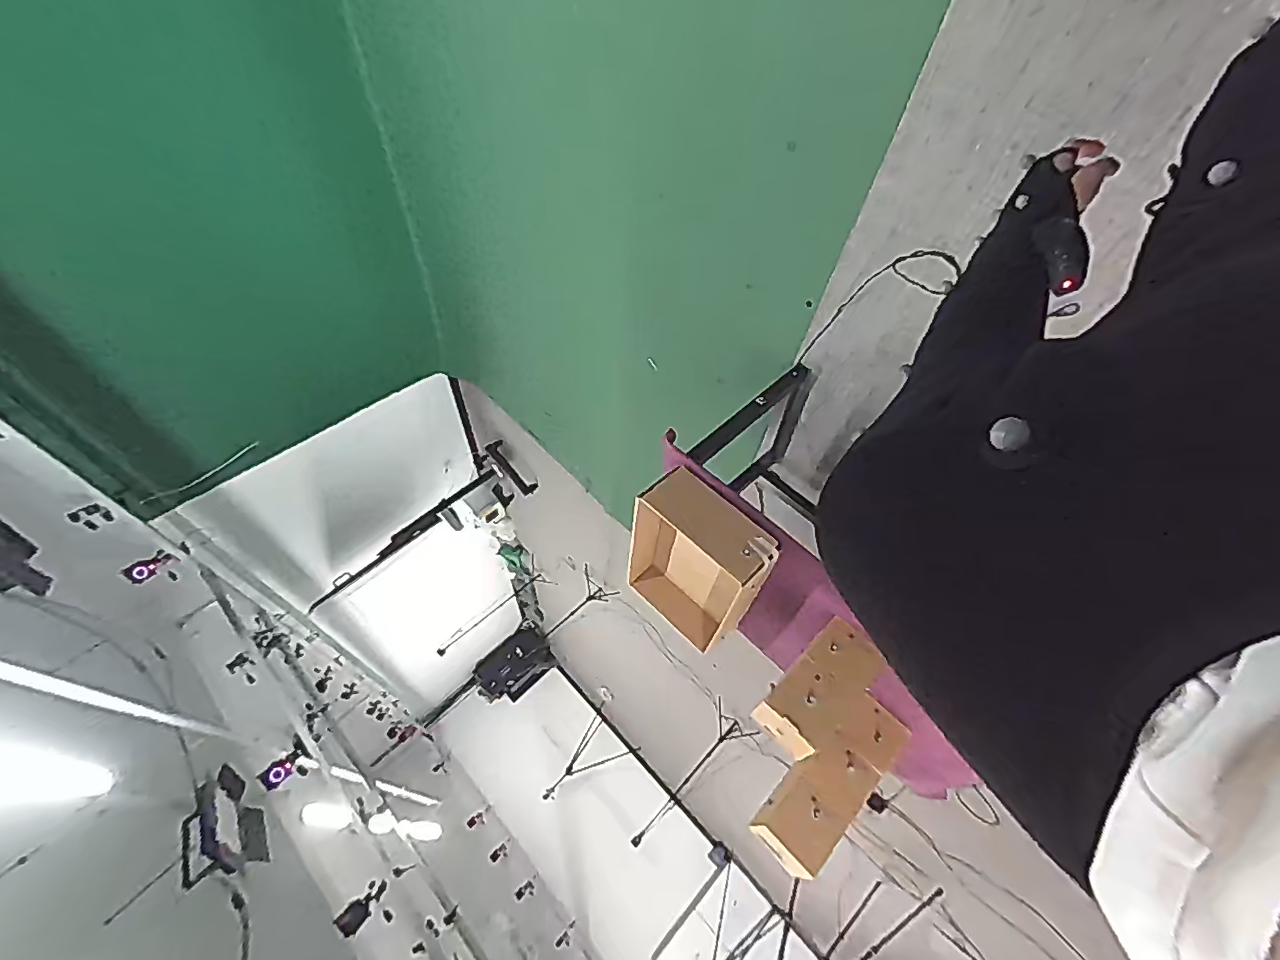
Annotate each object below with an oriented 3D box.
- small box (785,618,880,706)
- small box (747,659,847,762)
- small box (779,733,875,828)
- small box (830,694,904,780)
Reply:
[{"bbox_3d":[0.533,0.514,1.498,0.168,0.176,0.179,42,153,22],"label":"small box"},{"bbox_3d":[0.416,0.606,1.429,0.168,0.176,0.179,42,152,22],"label":"small box"},{"bbox_3d":[0.536,0.860,1.550,0.168,0.176,0.179,42,151,19],"label":"small box"},{"bbox_3d":[0.658,0.772,1.619,0.168,0.176,0.179,40,152,23],"label":"small box"}]
